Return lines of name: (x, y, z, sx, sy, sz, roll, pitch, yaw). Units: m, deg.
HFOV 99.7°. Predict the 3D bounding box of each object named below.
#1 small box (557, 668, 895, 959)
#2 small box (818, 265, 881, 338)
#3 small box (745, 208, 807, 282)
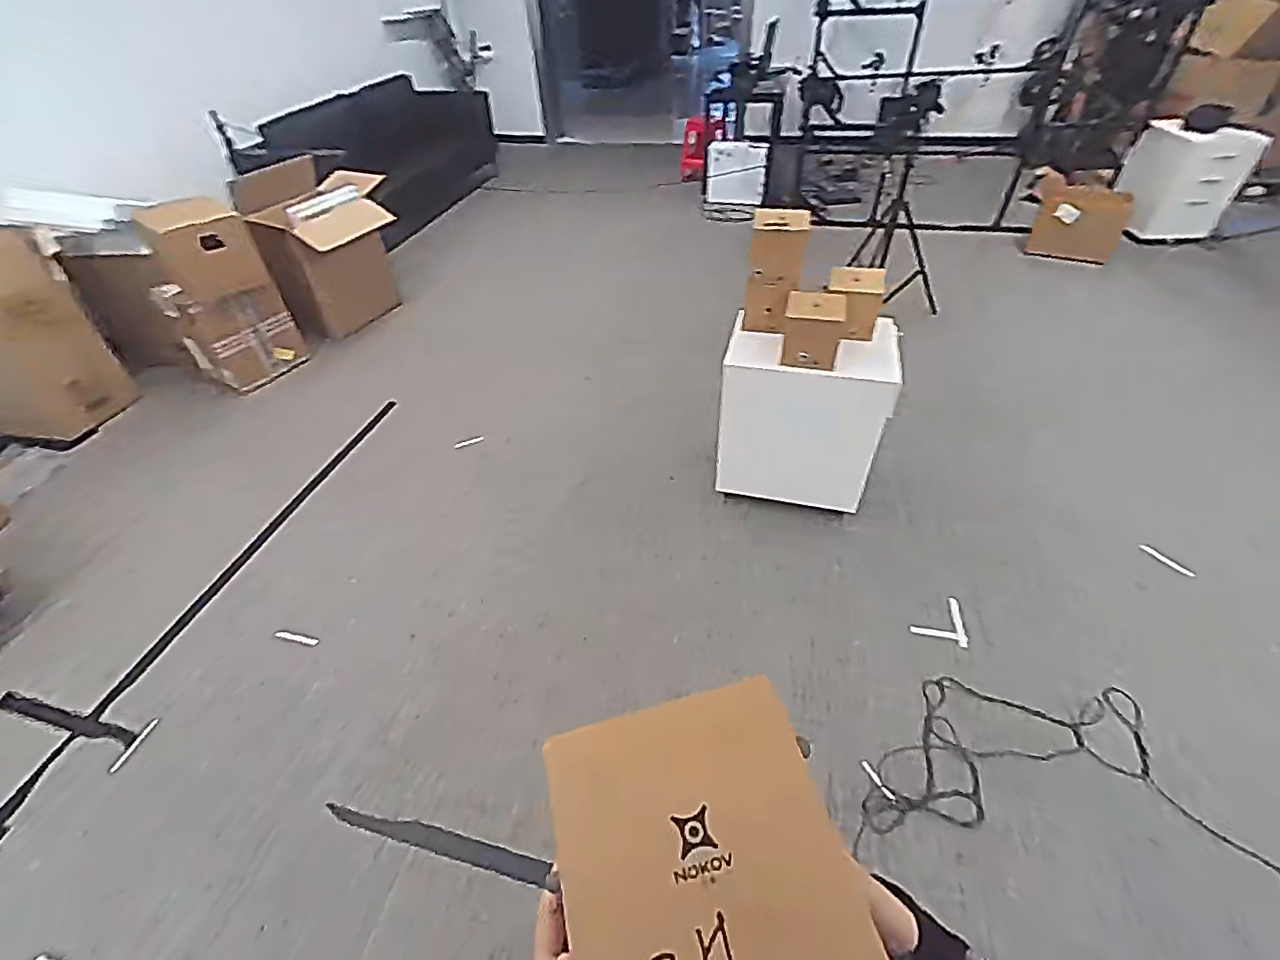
small box: (0.044, 0.267, 0.389, 0.168, 0.176, 0.179, -14, 50, -5)
small box: (0.676, -0.576, 1.749, 0.168, 0.176, 0.179, 9, 46, 14)
small box: (0.423, -0.734, 1.690, 0.168, 0.176, 0.179, 7, 45, 10)
